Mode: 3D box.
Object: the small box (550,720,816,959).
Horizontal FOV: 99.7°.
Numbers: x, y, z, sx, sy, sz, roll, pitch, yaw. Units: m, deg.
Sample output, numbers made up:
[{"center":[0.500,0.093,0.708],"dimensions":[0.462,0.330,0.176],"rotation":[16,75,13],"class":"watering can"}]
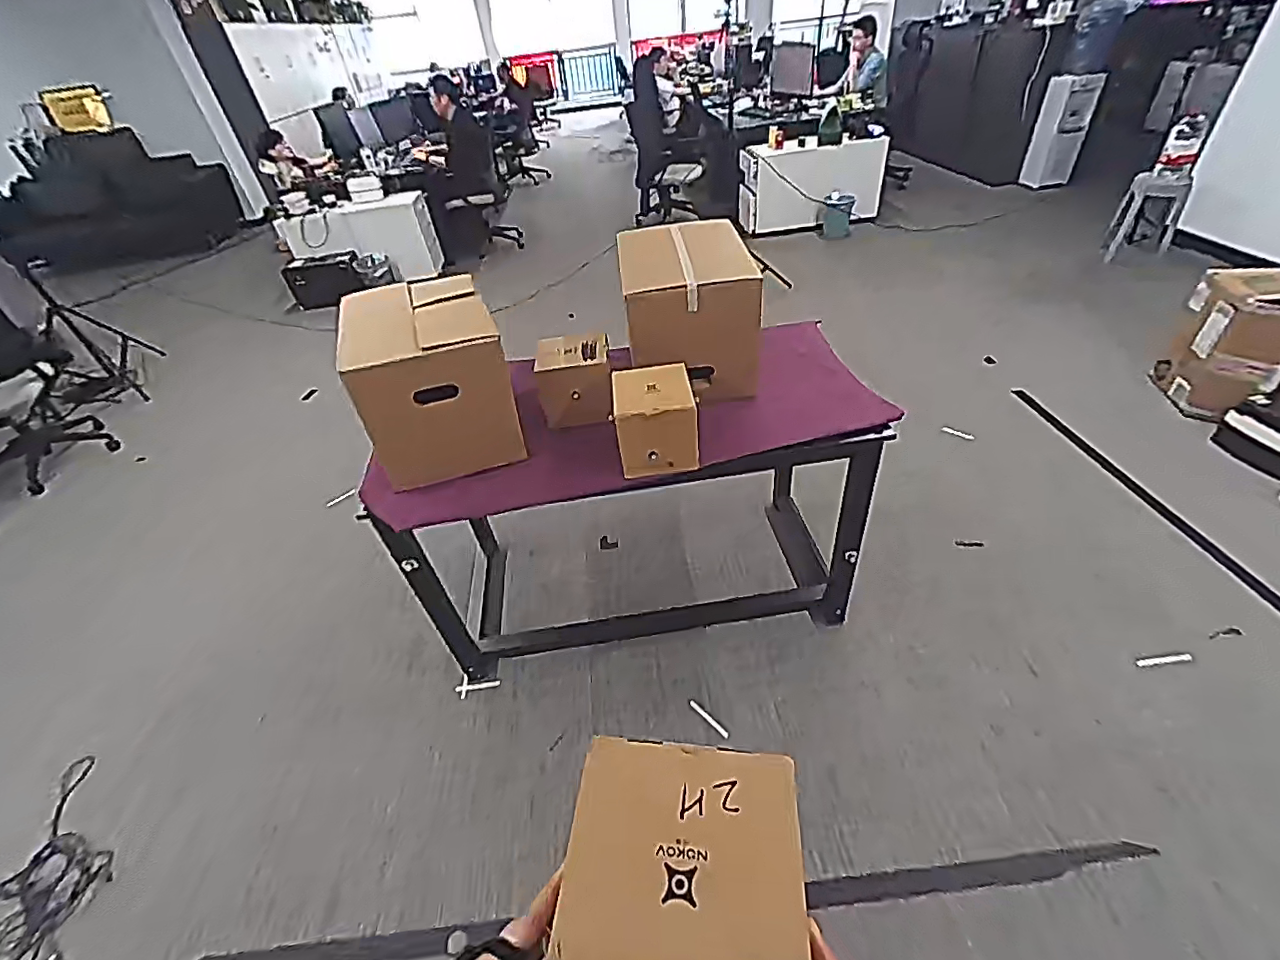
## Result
[{"center":[0.039,0.320,0.424],"dimensions":[0.168,0.176,0.179],"rotation":[3,38,8],"class":"small box"}]
